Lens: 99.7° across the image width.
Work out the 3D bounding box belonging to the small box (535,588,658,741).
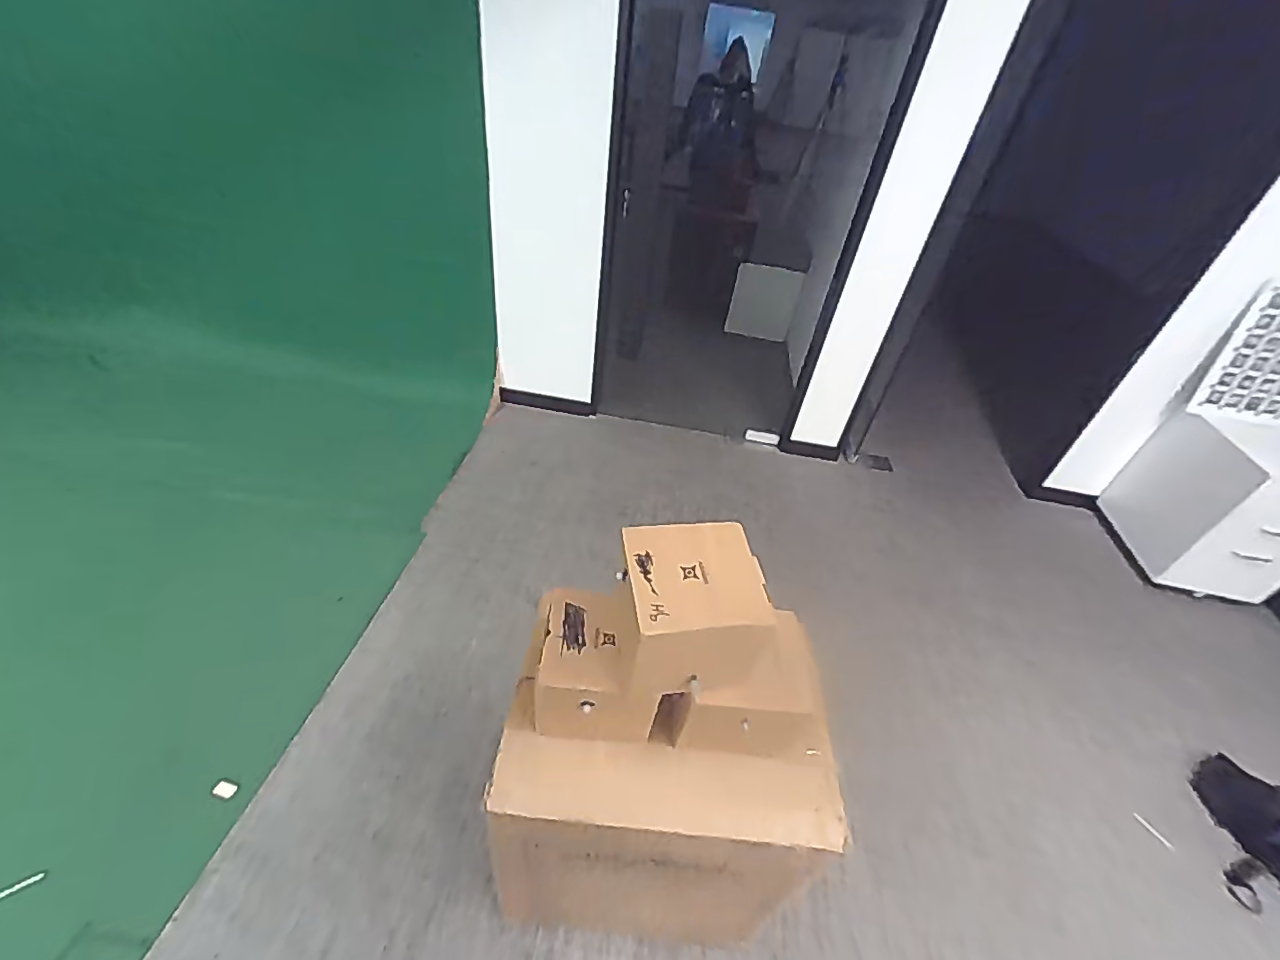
[{"bbox_3d":[-0.065,0.294,0.855,0.179,0.176,0.168,7,43,-3],"label":"small box"}]

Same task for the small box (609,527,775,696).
[{"bbox_3d":[0.060,0.183,0.756,0.179,0.176,0.168,0,44,-13],"label":"small box"}]
